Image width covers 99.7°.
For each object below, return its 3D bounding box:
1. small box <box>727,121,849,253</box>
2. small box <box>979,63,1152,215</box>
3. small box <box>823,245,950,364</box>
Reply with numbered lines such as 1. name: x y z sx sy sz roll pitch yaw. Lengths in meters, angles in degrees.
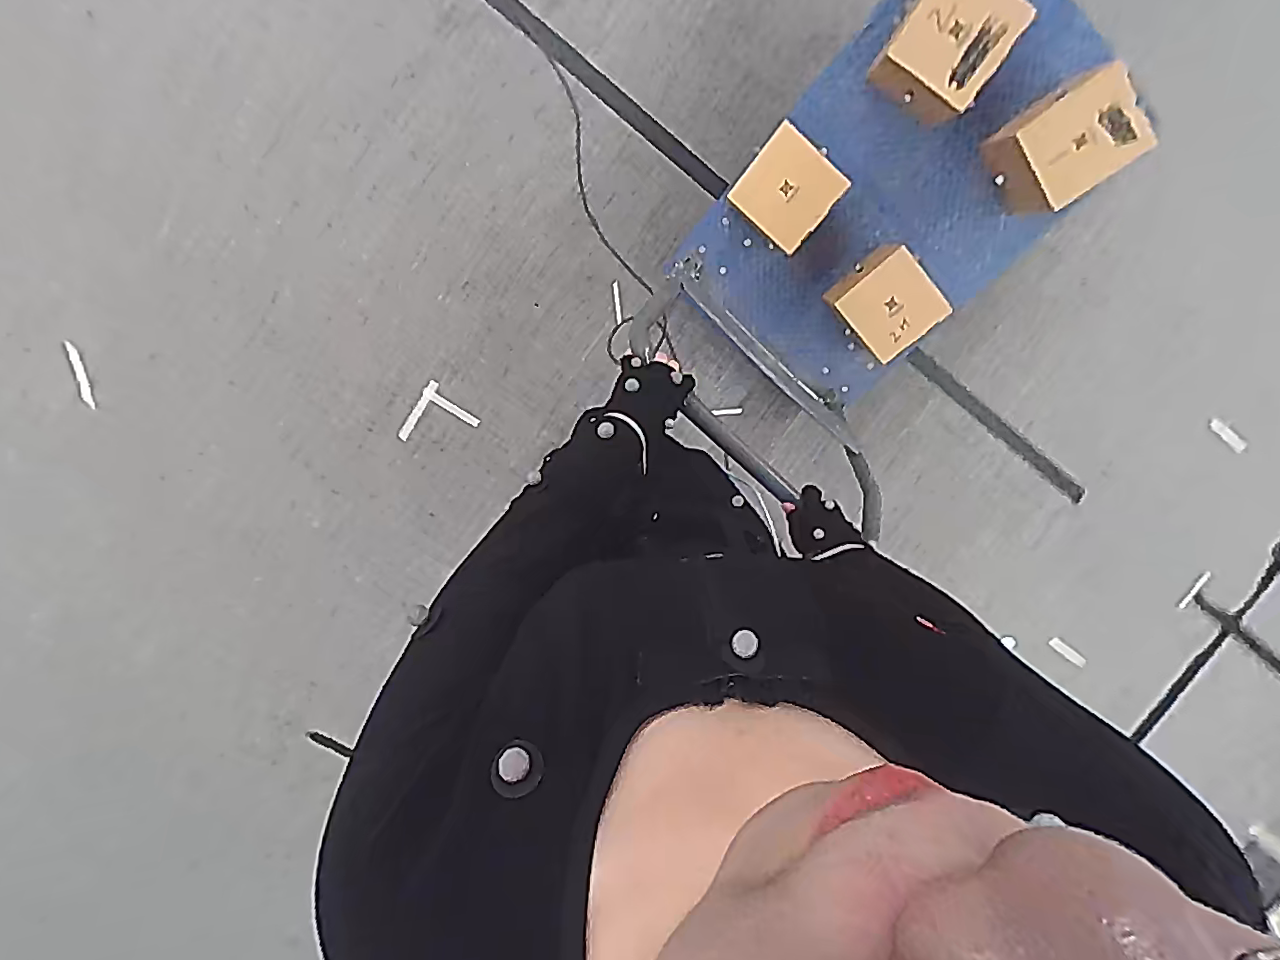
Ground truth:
1. small box: 0.295 -0.595 1.123 0.179 0.176 0.168 38 113 -10
2. small box: 0.796 -0.633 1.030 0.179 0.176 0.168 -33 105 21
3. small box: 0.526 -0.385 1.181 0.168 0.176 0.179 -39 103 22
